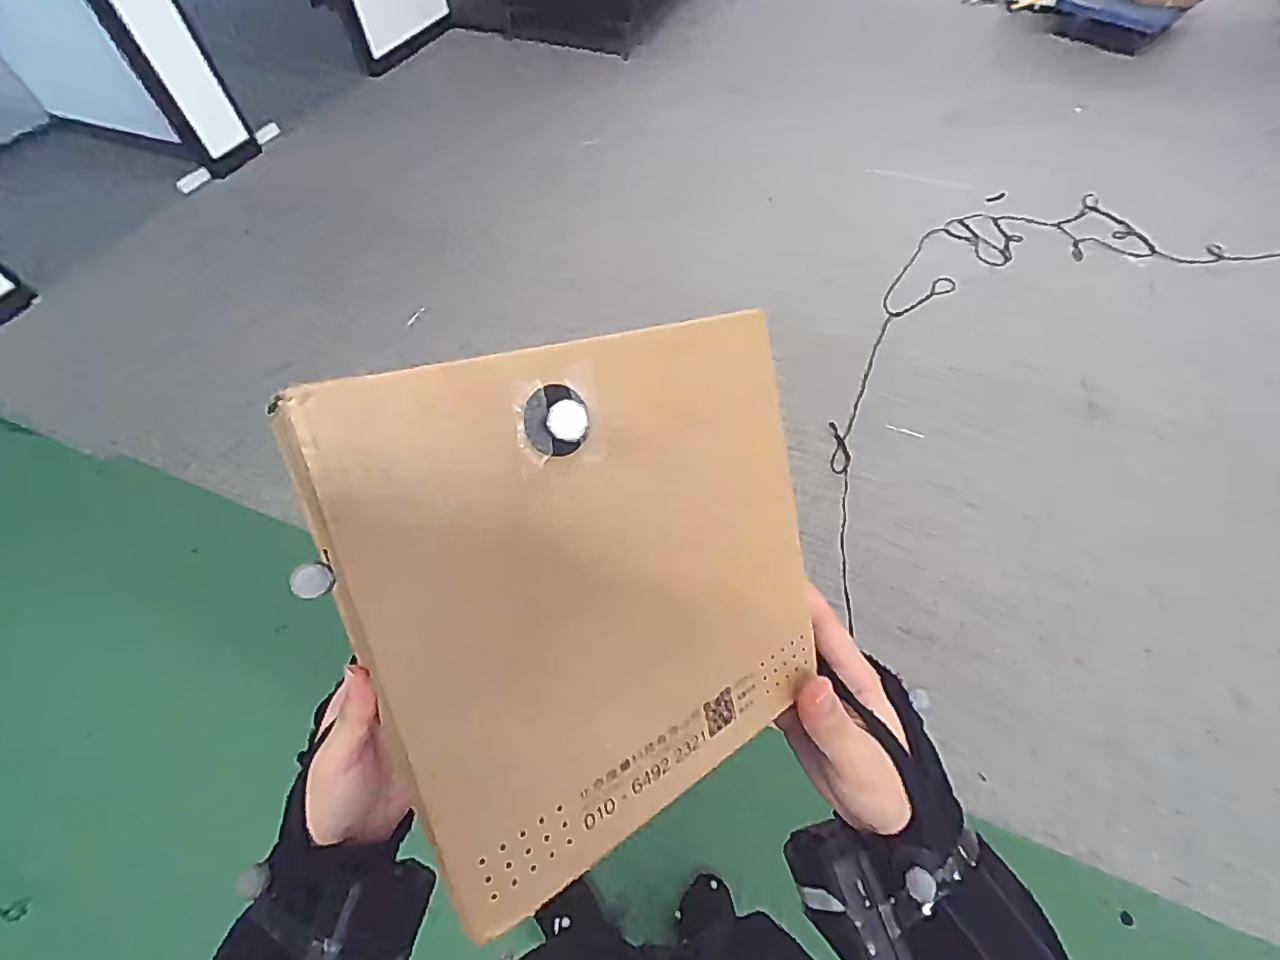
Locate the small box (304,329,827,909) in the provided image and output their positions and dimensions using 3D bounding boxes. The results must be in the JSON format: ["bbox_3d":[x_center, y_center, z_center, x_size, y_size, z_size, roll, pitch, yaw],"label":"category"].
[{"bbox_3d":[-0.038,0.038,0.260,0.168,0.176,0.179,-22,15,-33],"label":"small box"}]
